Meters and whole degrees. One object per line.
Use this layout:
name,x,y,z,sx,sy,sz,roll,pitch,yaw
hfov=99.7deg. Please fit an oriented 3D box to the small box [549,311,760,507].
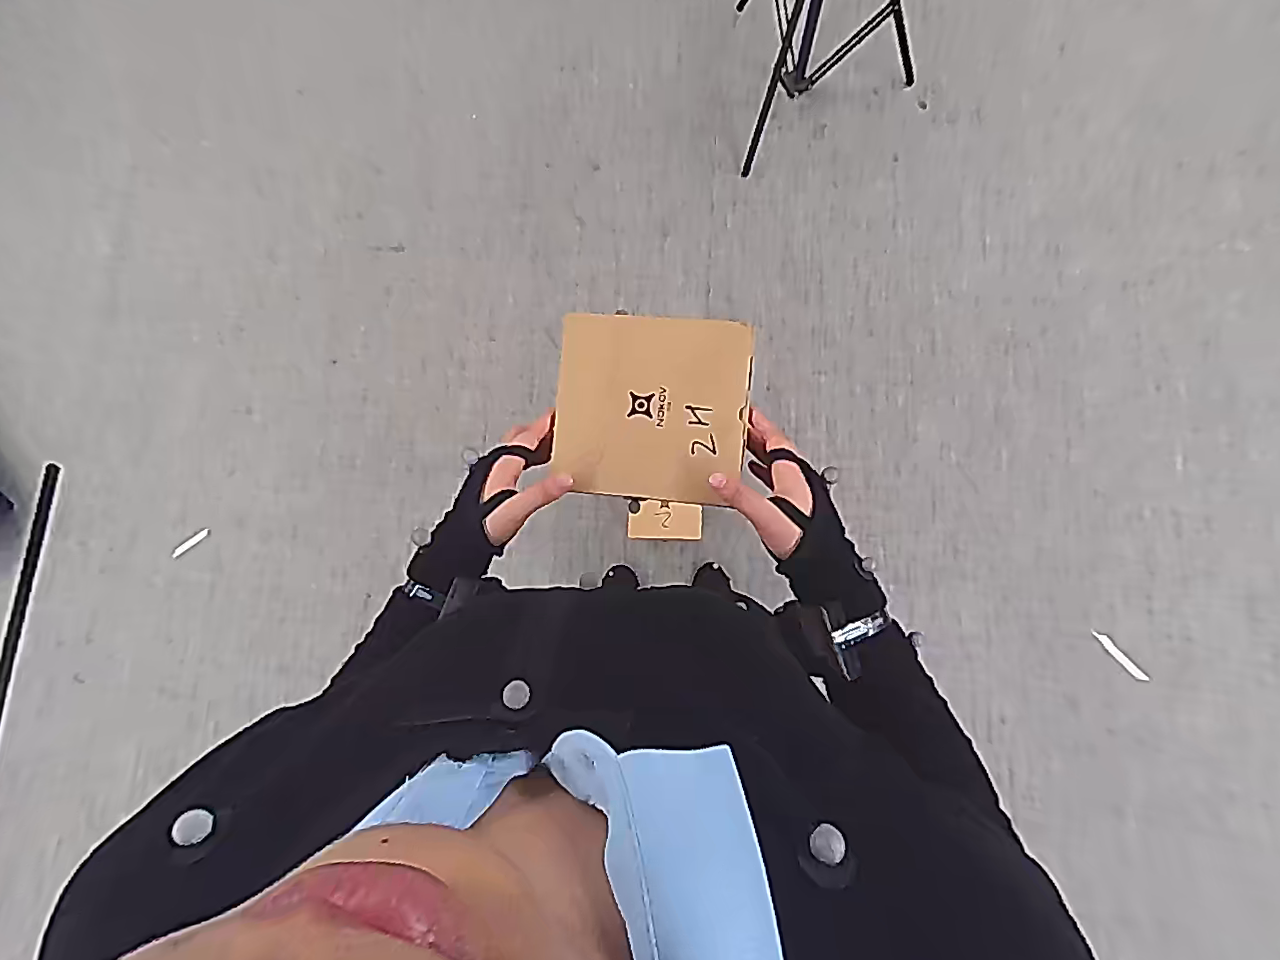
small box,0.021,-0.062,0.556,0.179,0.176,0.168,5,89,7

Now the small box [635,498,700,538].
small box,0.073,0.060,1.446,0.168,0.176,0.179,-3,81,5
